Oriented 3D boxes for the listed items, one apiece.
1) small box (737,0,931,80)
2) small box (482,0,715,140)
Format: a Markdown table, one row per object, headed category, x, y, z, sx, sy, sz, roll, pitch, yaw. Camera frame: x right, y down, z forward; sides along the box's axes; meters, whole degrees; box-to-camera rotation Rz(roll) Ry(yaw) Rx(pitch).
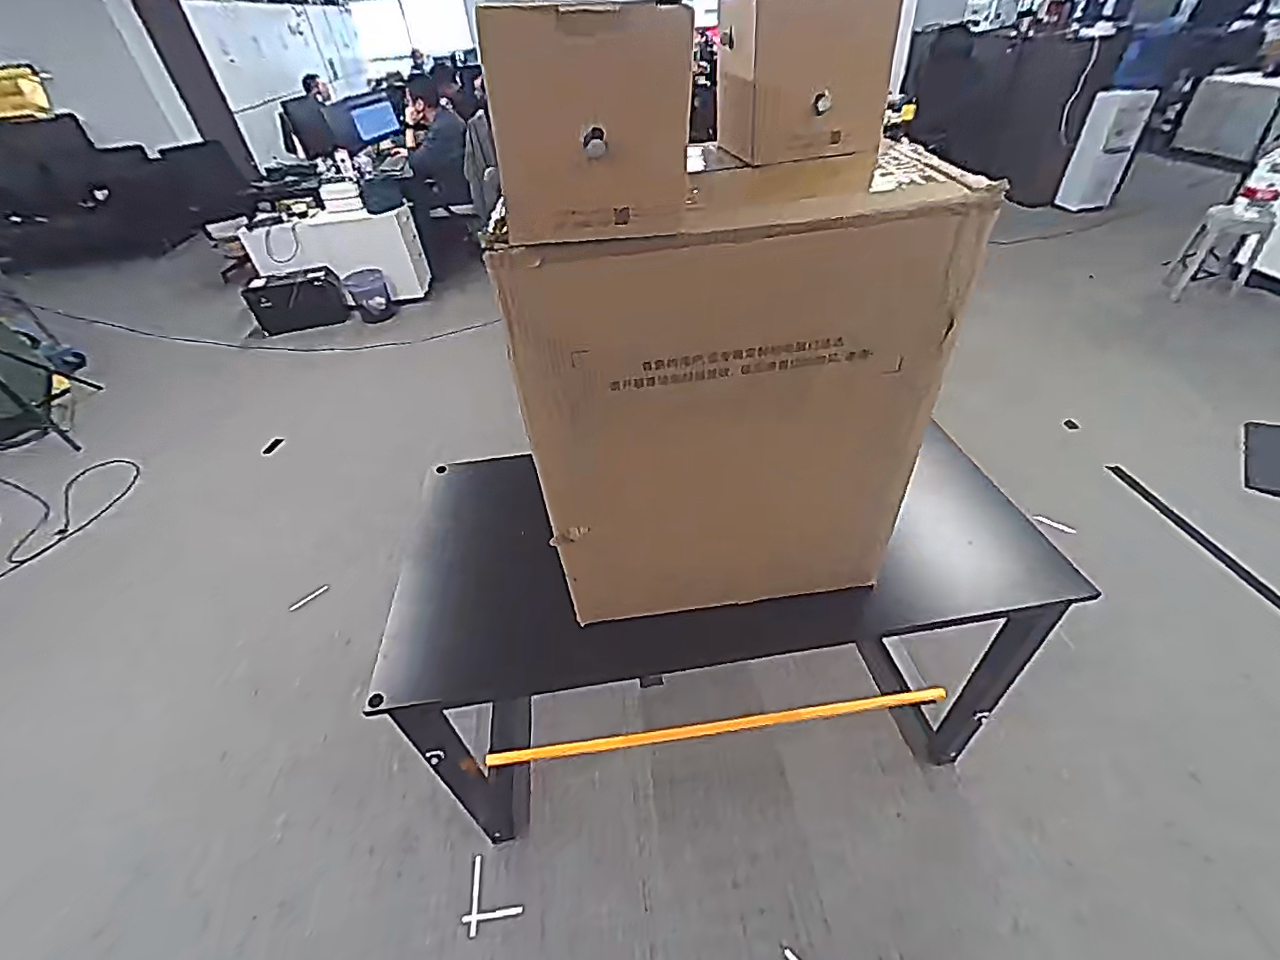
| category | x | y | z | sx | sy | sz | roll | pitch | yaw |
| --- | --- | --- | --- | --- | --- | --- | --- | --- | --- |
| small box | 0.209 | -0.558 | 0.603 | 0.168 | 0.176 | 0.179 | -9 | 40 | -3 |
| small box | -0.040 | -0.381 | 0.427 | 0.168 | 0.176 | 0.179 | -8 | 44 | -8 |
